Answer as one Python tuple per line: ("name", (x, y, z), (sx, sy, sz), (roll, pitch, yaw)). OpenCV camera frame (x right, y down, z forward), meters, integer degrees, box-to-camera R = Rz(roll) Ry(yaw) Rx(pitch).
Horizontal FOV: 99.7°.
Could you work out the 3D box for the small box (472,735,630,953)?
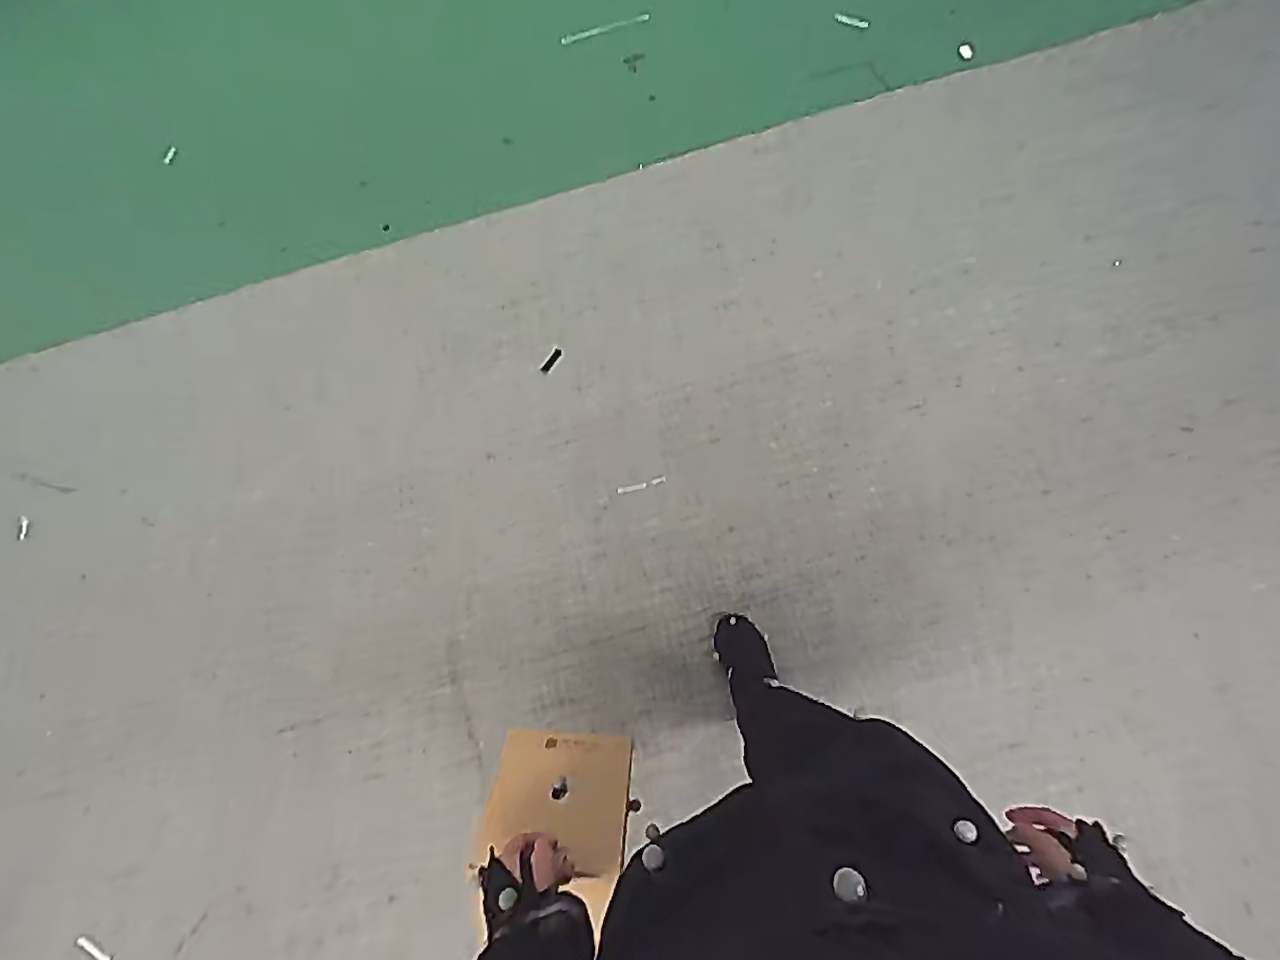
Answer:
("small box", (-0.099, 0.446, 0.677), (0.168, 0.179, 0.176), (2, 27, 1))
